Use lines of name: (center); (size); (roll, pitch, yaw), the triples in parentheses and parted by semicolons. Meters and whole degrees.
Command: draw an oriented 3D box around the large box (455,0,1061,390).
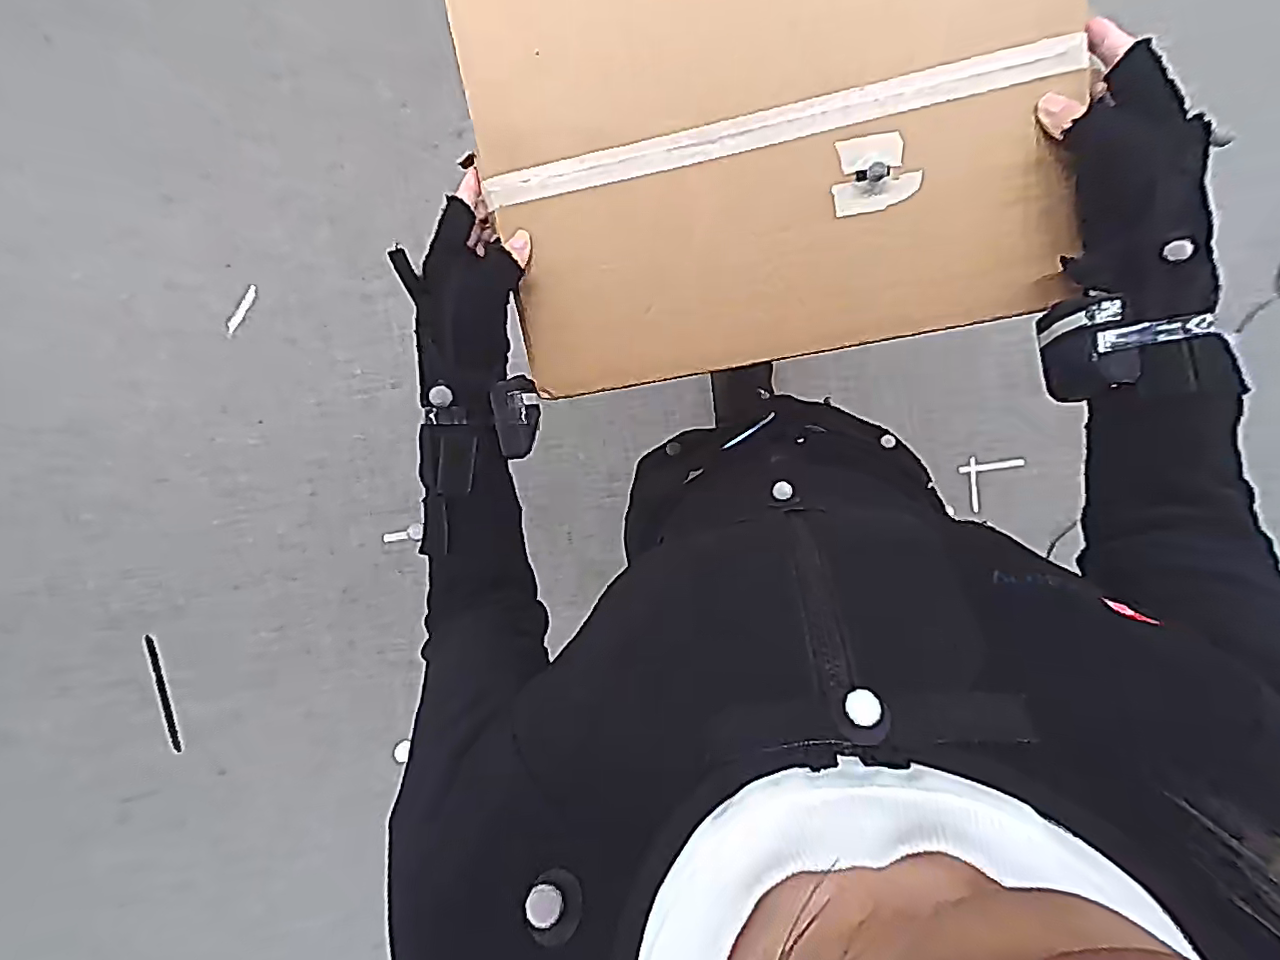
large box: (0.098, -0.291, 0.532); (0.408, 0.320, 0.320); (-9, 105, 7)
